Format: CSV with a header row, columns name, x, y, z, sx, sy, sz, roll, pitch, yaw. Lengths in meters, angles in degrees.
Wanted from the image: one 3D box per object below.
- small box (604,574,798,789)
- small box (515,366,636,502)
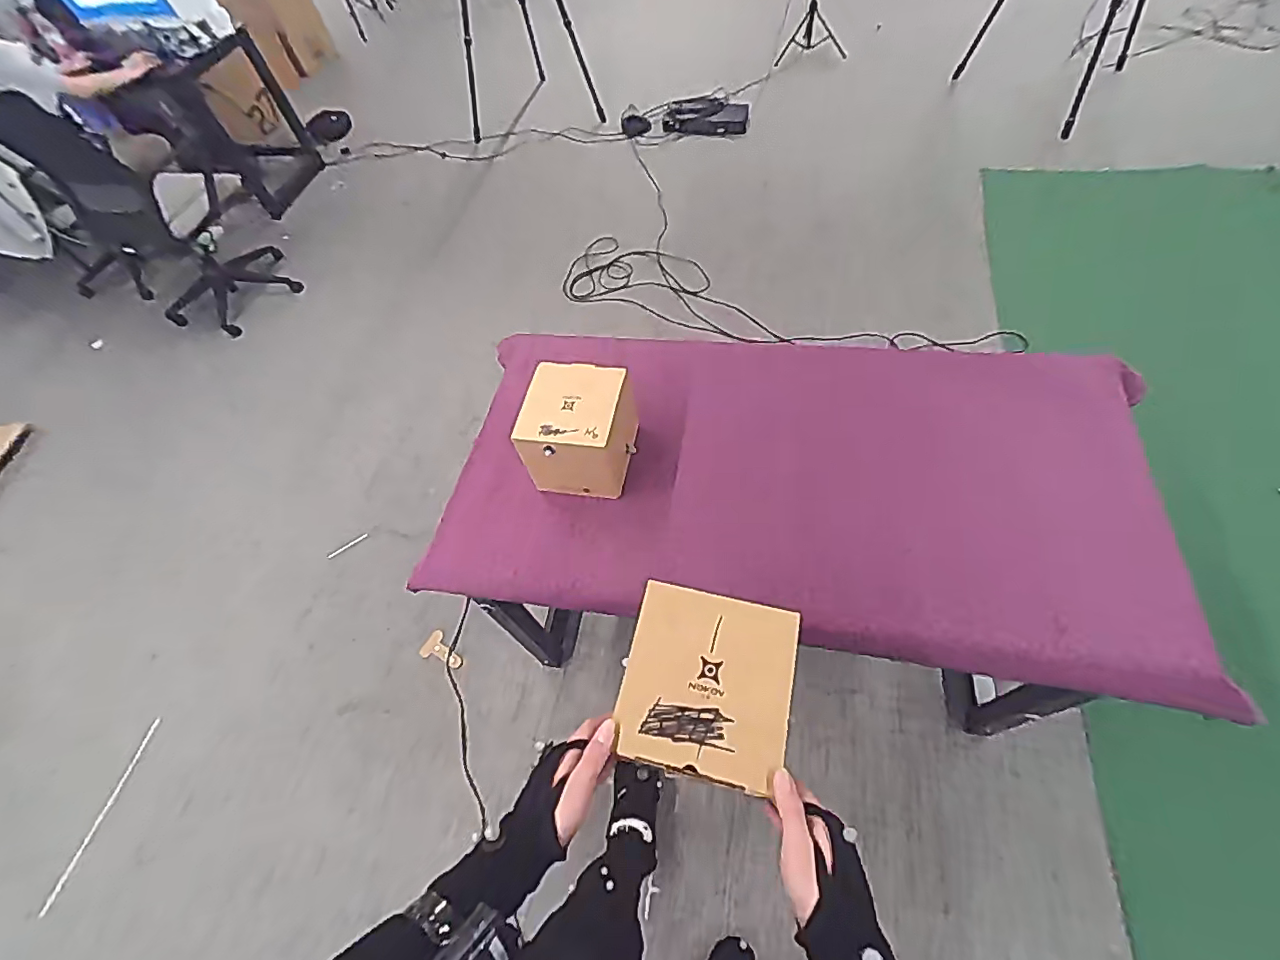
name,x,y,z,sx,sy,sz,roll,pitch,yaw
small box,0.071,0.232,0.609,0.168,0.176,0.179,11,60,10
small box,-0.106,-0.083,0.992,0.168,0.176,0.179,6,58,12
